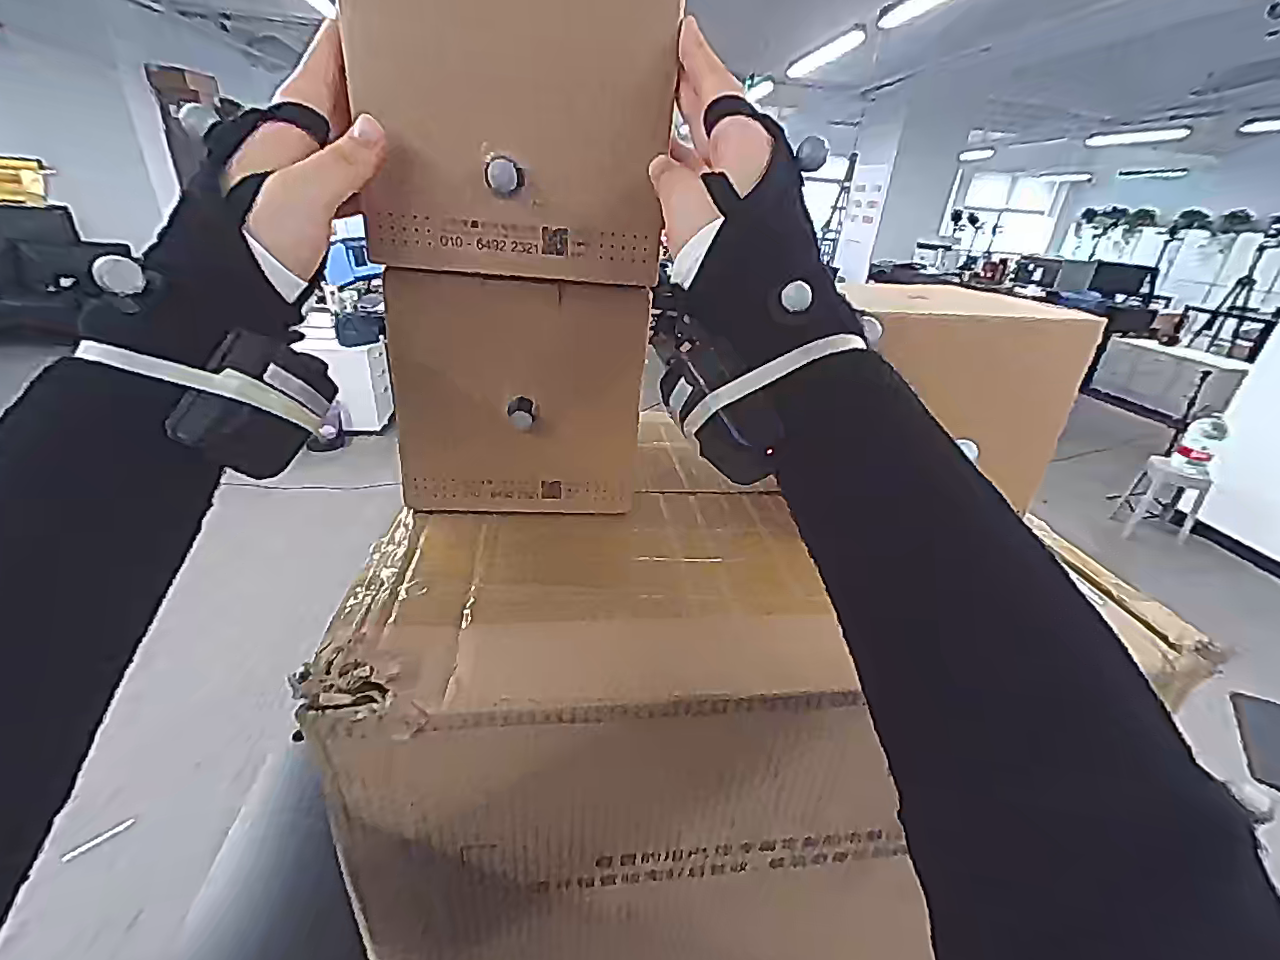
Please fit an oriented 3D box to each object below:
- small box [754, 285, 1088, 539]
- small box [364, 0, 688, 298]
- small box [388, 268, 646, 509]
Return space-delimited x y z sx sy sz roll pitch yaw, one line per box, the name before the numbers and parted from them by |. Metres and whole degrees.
small box | 0.205 -0.065 0.458 0.168 0.176 0.179 -1 27 -6
small box | -0.071 -0.227 0.364 0.168 0.176 0.179 2 26 -8
small box | -0.091 -0.086 0.450 0.168 0.176 0.179 1 26 -9
